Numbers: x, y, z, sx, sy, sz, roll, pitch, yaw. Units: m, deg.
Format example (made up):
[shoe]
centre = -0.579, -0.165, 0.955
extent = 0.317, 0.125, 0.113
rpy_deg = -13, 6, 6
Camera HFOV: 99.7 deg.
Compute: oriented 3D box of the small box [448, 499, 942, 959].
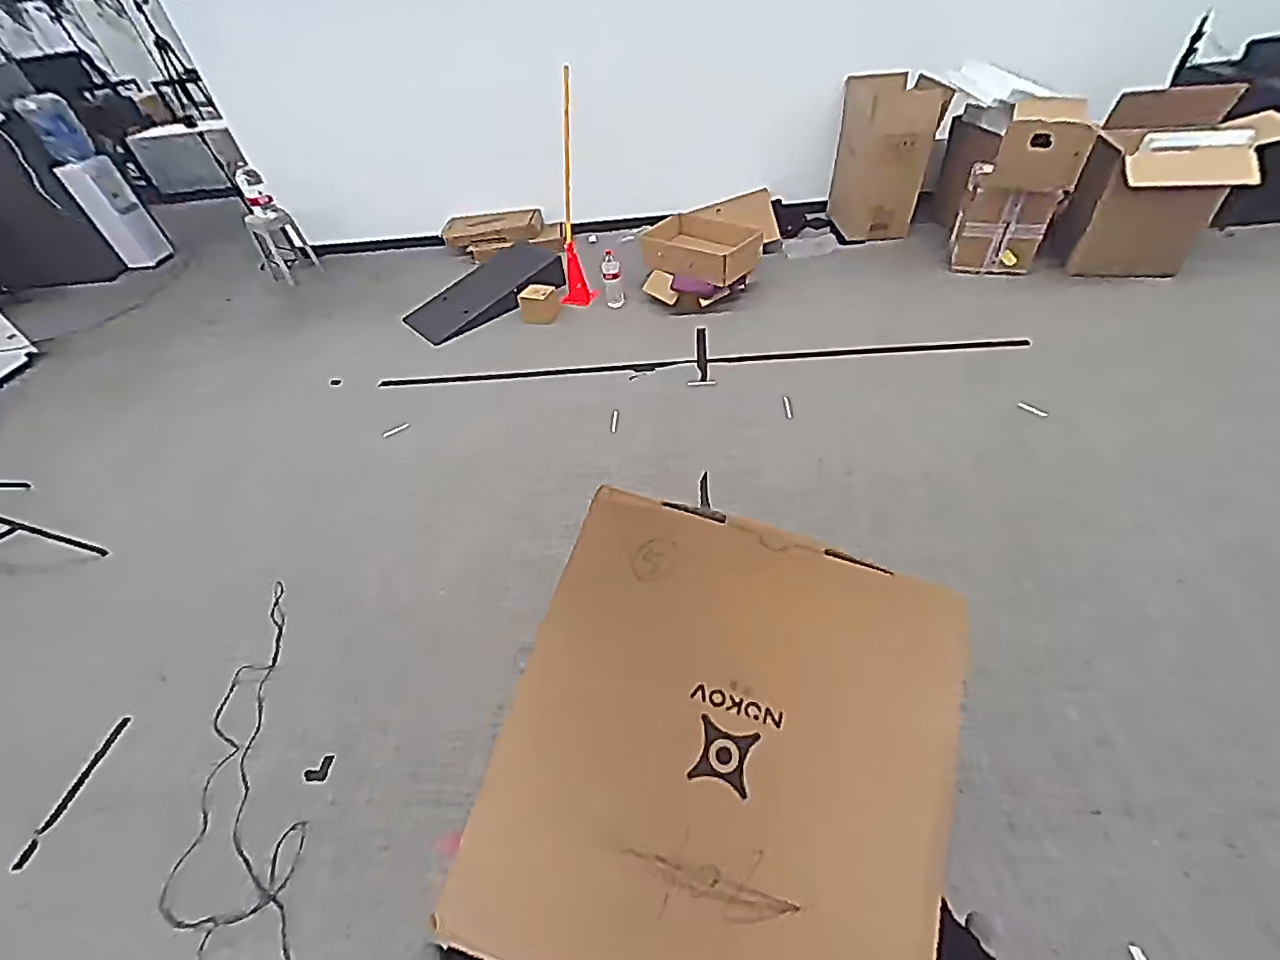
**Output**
[small box]
centre = 0.031, 0.137, 0.290
extent = 0.168, 0.176, 0.179
rpy_deg = 16, 68, 7
